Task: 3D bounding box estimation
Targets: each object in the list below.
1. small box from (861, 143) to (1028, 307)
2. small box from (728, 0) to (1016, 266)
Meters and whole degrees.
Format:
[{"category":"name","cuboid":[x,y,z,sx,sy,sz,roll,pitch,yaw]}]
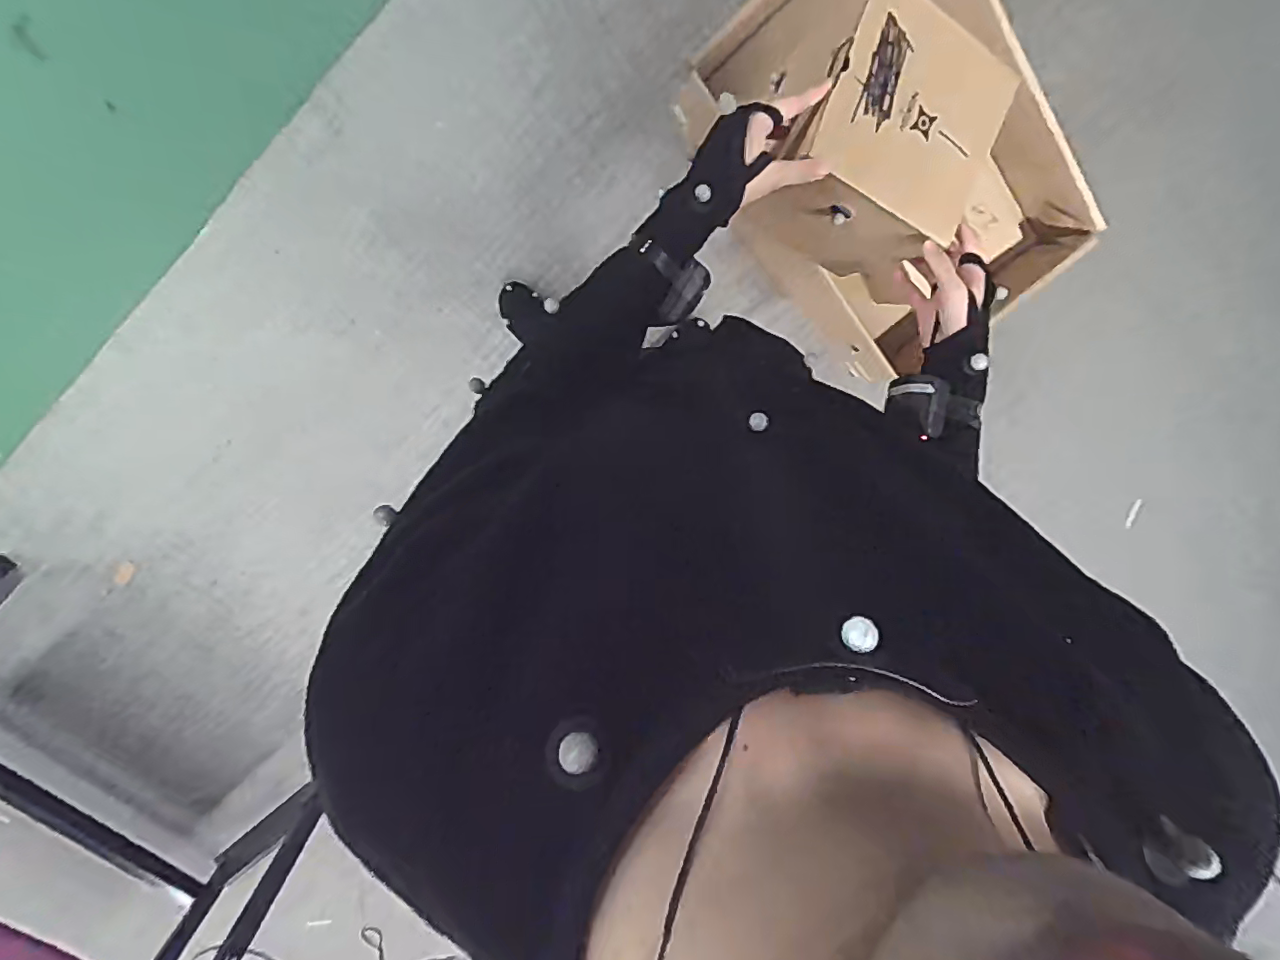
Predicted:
[{"category":"small box","cuboid":[0.474,-0.403,0.890,0.179,0.176,0.168,-34,106,8]},{"category":"small box","cuboid":[0.216,-0.338,0.547,0.179,0.176,0.168,20,95,-19]}]
